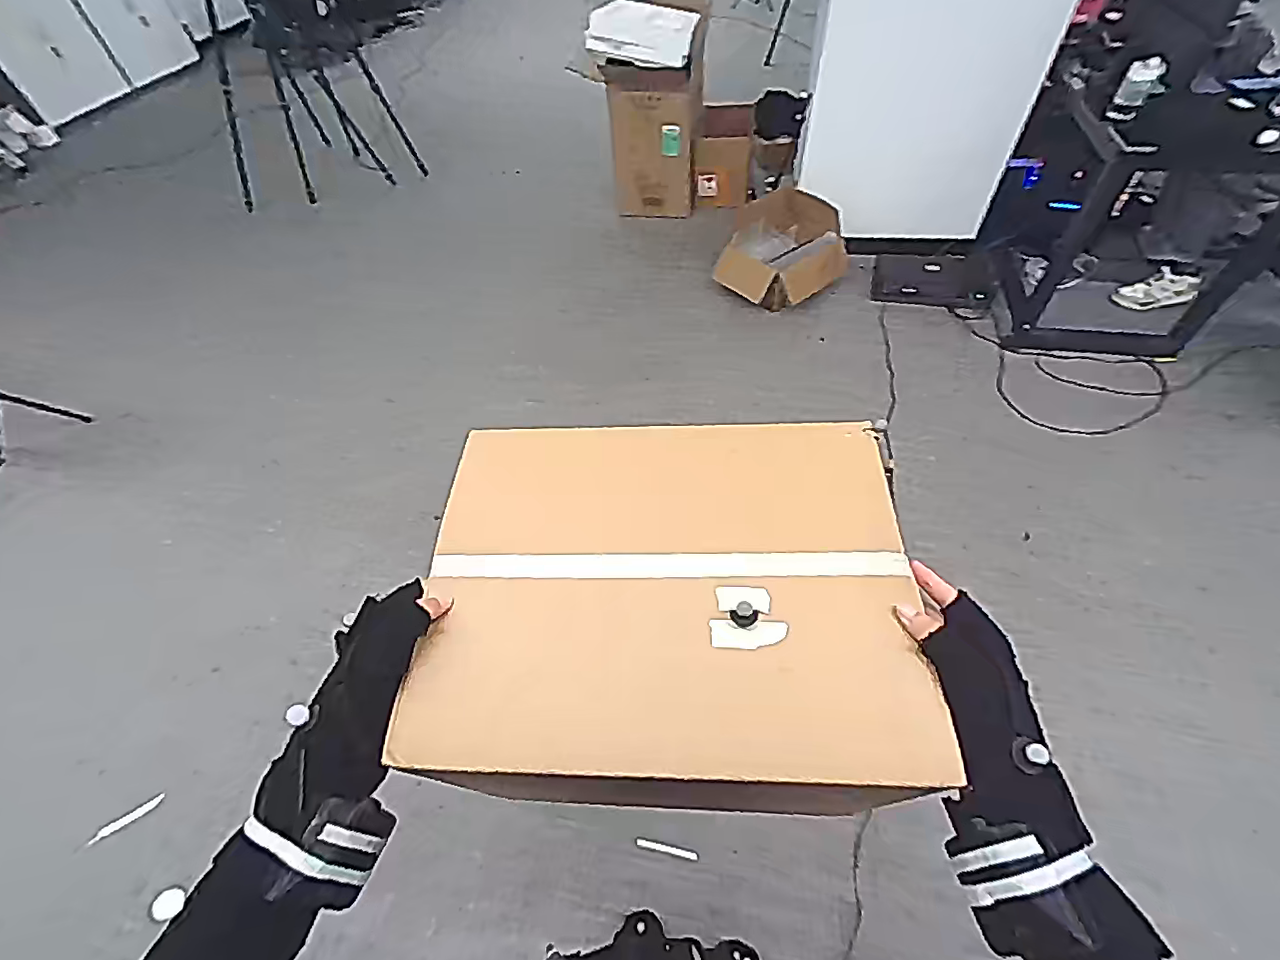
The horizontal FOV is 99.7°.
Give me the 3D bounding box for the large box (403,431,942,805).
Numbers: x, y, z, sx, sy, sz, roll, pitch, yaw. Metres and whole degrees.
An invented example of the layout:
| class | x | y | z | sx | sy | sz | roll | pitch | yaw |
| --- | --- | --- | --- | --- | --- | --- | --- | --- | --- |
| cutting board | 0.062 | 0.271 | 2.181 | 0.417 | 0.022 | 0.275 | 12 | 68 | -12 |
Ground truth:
| class | x | y | z | sx | sy | sz | roll | pitch | yaw |
| --- | --- | --- | --- | --- | --- | --- | --- | --- | --- |
| large box | 0.030 | 0.166 | 0.598 | 0.408 | 0.320 | 0.320 | -1 | 55 | 5 |
